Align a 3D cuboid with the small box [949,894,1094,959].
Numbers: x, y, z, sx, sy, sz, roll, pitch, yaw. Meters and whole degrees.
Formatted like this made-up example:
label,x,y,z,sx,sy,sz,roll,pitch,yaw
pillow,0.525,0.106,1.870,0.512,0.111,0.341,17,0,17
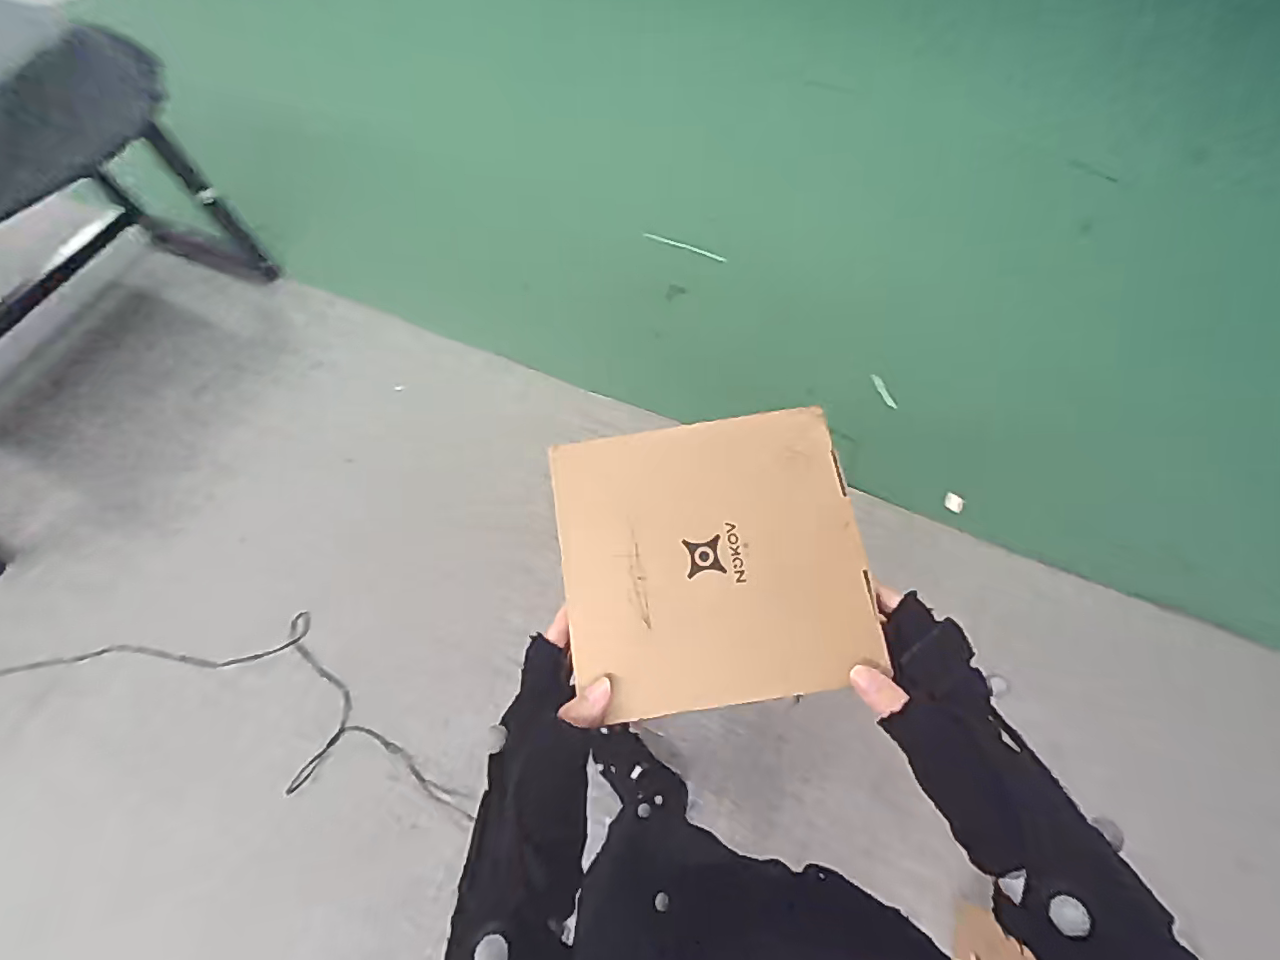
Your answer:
label,x,y,z,sx,sy,sz,roll,pitch,yaw
small box,0.689,0.902,0.985,0.168,0.176,0.179,14,67,8
